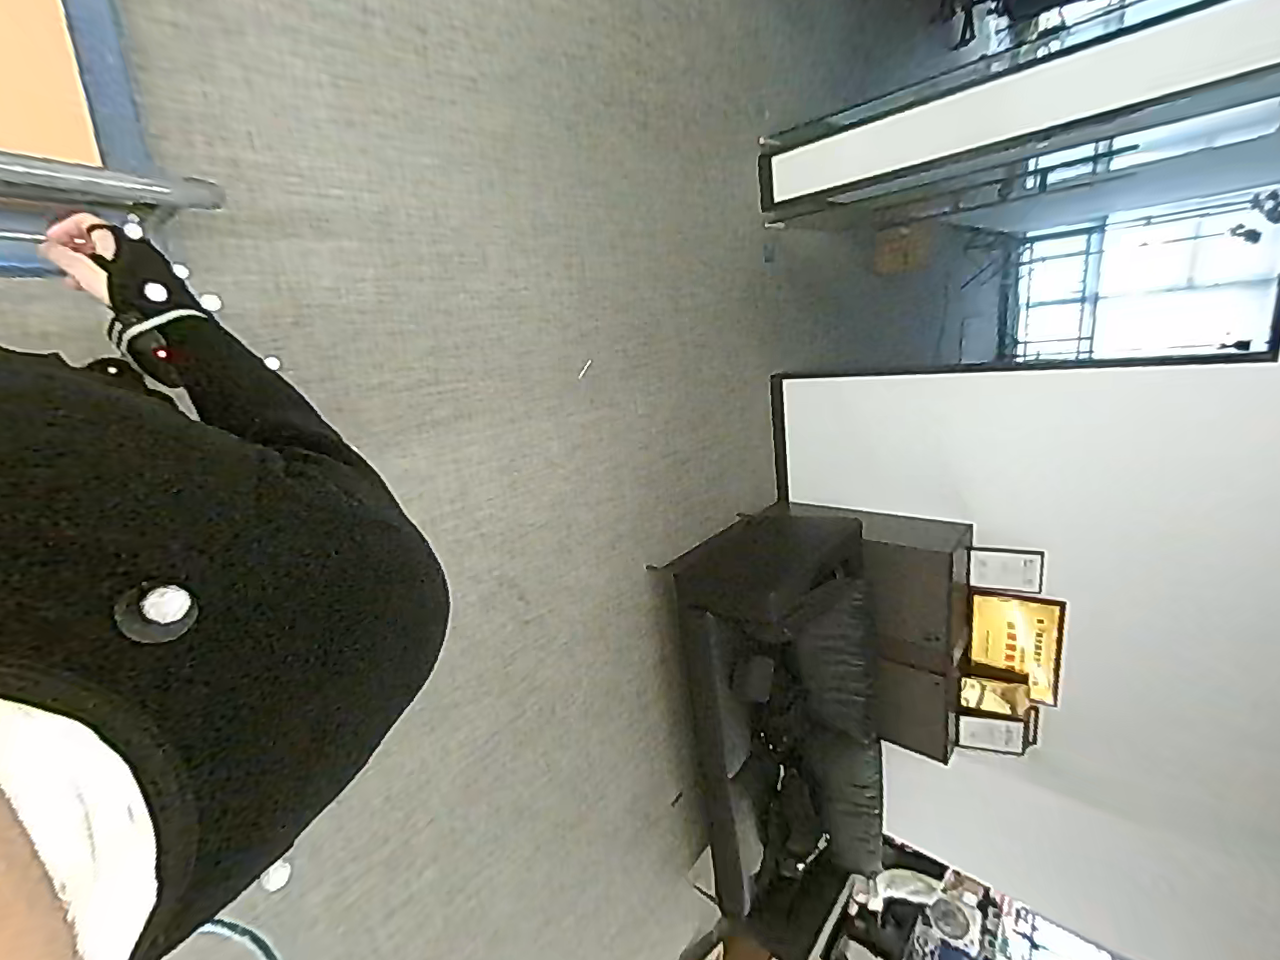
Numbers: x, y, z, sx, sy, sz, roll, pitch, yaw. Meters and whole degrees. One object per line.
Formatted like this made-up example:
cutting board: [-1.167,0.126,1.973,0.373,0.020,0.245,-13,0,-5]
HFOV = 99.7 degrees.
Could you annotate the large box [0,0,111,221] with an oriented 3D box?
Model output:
large box: [-1.040,-0.636,0.780,0.320,0.320,0.408,-17,107,-46]
